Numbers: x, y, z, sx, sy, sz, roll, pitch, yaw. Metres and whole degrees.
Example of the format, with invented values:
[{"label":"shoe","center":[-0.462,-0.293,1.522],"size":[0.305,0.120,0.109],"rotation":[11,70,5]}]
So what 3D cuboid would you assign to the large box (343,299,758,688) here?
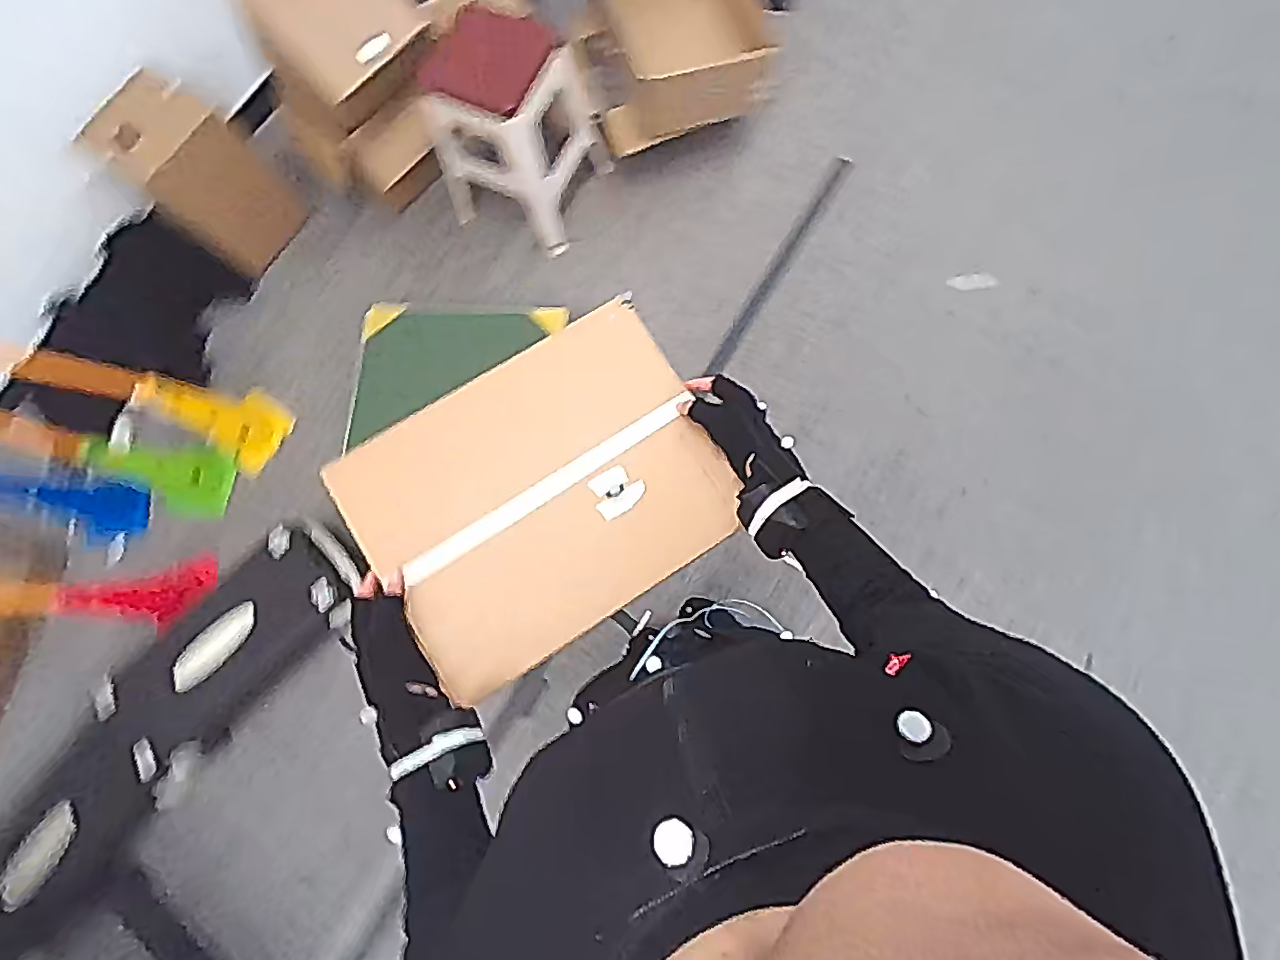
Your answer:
[{"label":"large box","center":[-0.109,0.028,0.779],"size":[0.408,0.320,0.320],"rotation":[-31,83,-7]}]
